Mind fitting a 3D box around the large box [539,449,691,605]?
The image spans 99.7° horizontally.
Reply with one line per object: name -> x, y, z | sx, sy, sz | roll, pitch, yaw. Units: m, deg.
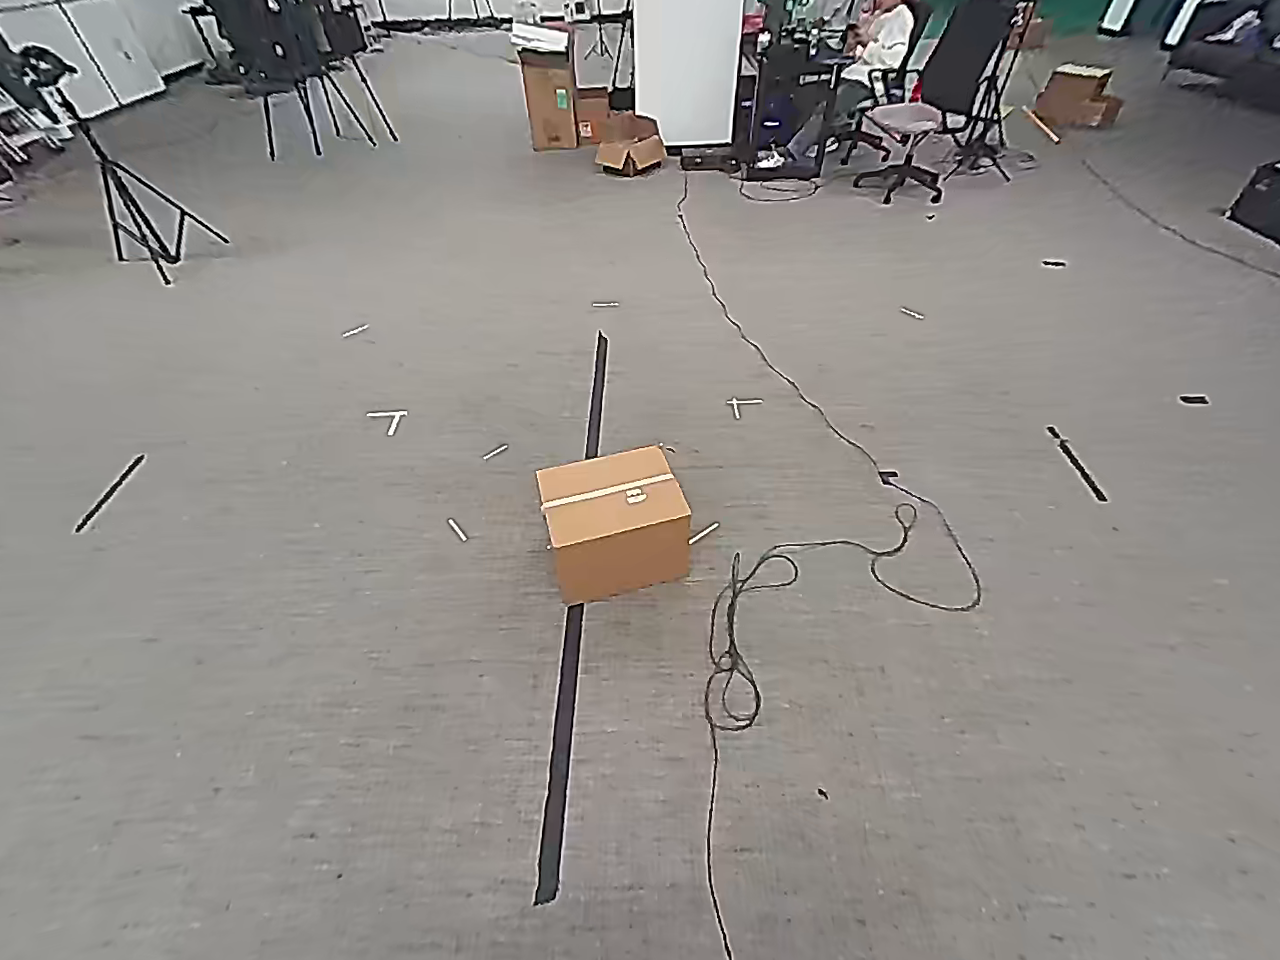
large box -> -0.084, 0.148, 1.721 | 0.408, 0.320, 0.320 | -12, 47, -11
